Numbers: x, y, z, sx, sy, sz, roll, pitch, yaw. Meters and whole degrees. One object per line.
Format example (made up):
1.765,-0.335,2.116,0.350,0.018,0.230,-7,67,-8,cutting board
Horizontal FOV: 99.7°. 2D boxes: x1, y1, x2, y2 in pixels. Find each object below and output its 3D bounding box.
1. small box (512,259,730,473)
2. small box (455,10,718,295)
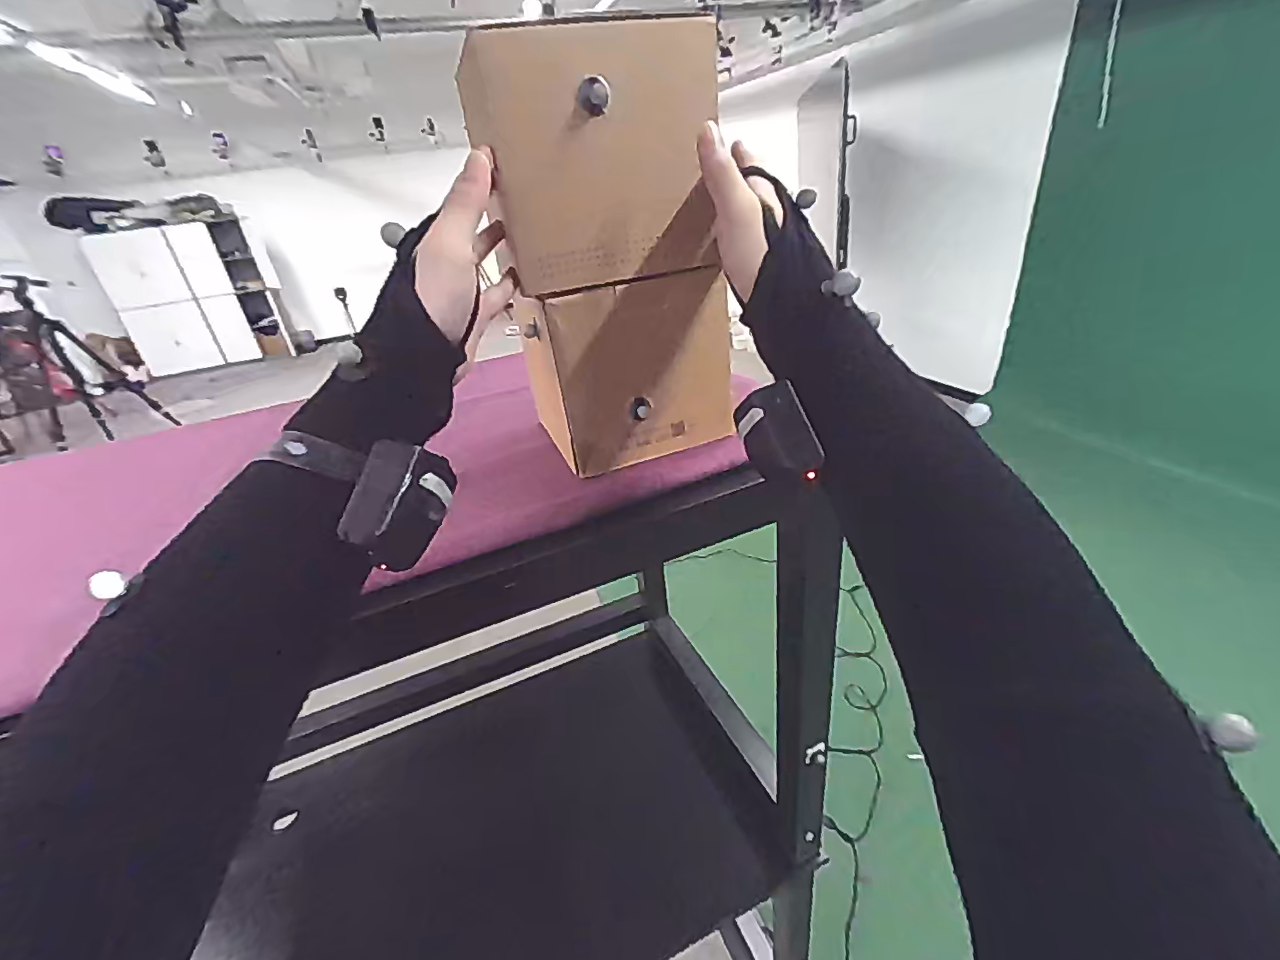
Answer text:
-0.021,-0.128,0.554,0.168,0.176,0.179,-17,31,-15,small box
-0.045,-0.266,0.464,0.179,0.176,0.168,-15,31,-13,small box
